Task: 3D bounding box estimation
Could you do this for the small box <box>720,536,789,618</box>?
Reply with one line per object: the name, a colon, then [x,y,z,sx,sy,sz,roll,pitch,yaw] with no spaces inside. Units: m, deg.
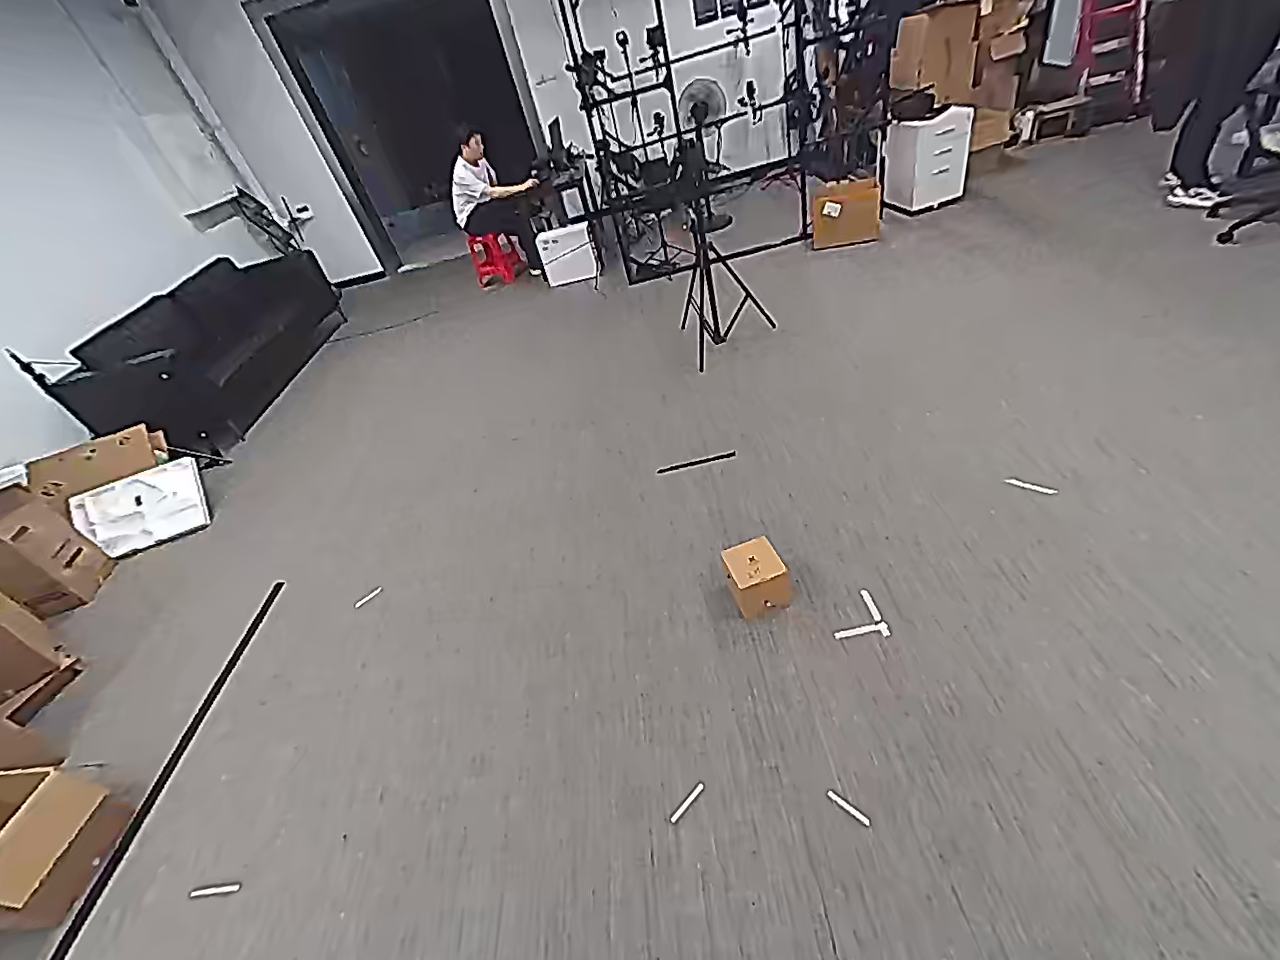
small box: [0.380,0.323,1.798,0.168,0.176,0.179,-20,39,-3]
